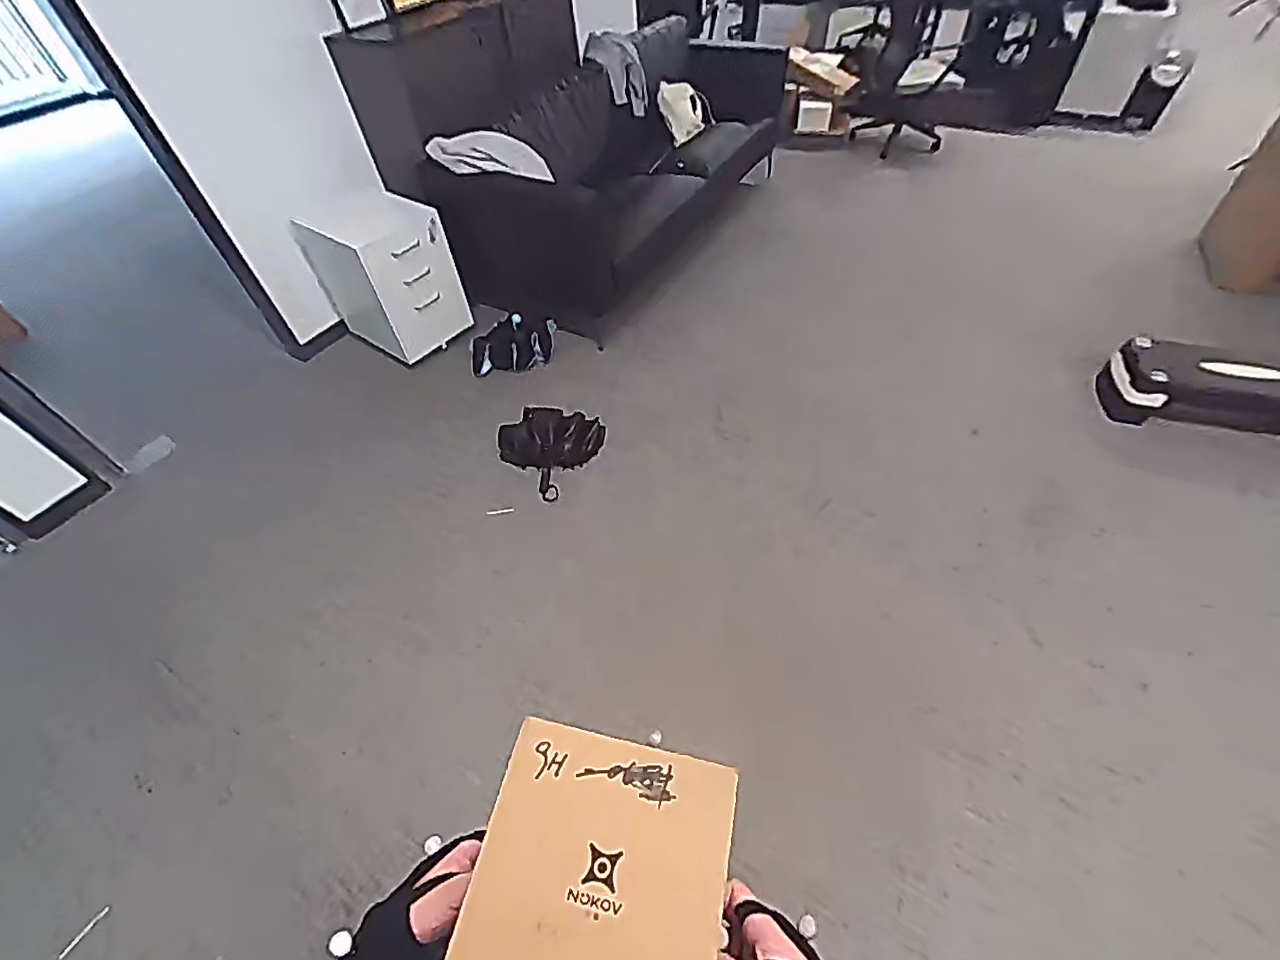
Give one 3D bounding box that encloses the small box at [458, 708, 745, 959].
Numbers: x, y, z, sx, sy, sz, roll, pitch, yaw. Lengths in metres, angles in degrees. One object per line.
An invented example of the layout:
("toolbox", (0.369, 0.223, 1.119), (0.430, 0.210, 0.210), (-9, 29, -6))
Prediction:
("small box", (-0.019, 0.303, 0.430), (0.168, 0.176, 0.179), (10, 59, 7))
